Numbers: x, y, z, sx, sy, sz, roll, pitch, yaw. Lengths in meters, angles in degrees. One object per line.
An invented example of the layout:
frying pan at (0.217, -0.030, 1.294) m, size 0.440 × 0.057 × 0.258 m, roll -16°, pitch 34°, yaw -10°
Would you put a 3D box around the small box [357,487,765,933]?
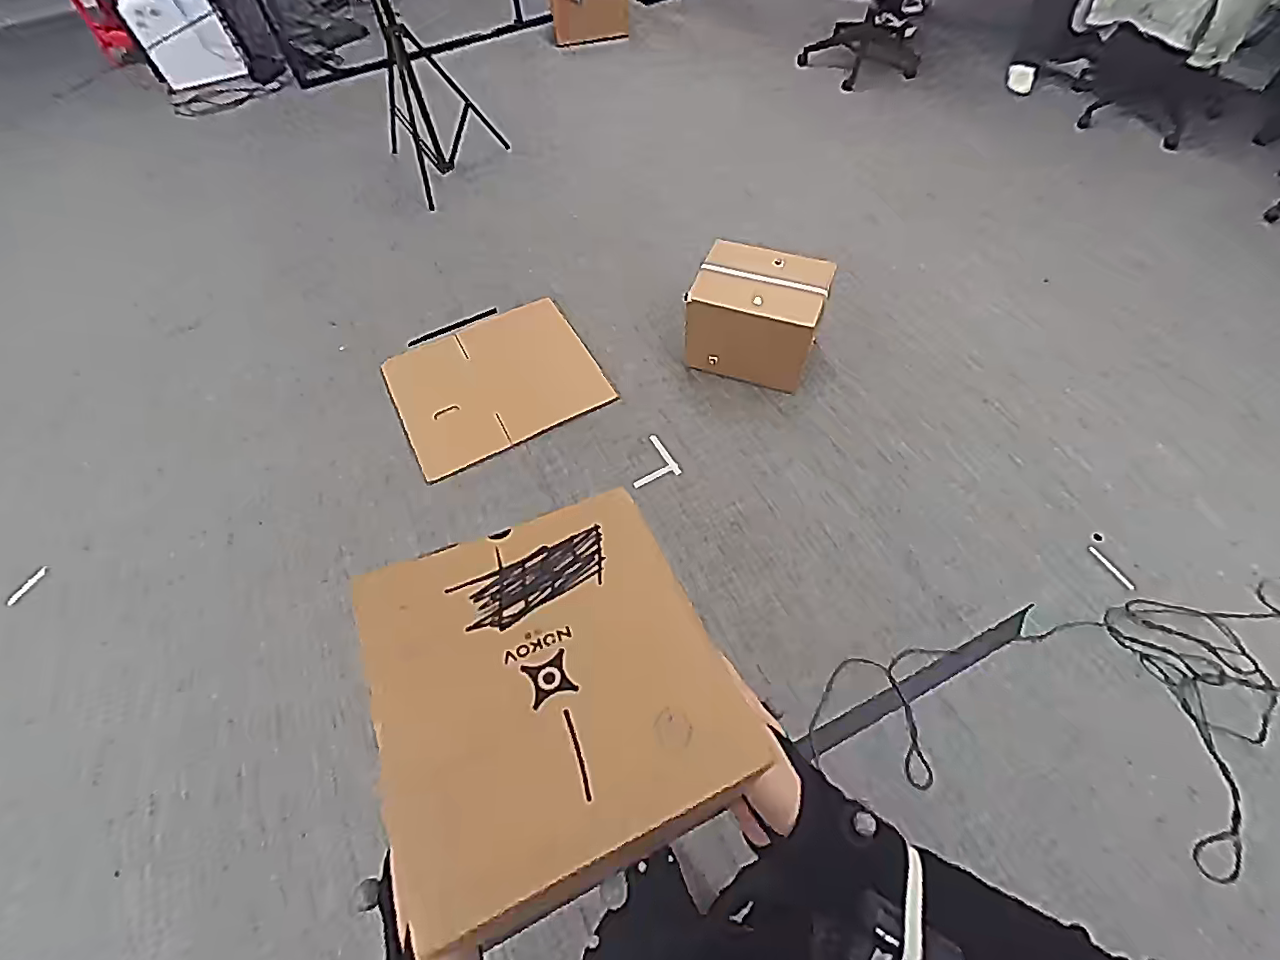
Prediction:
small box at (-0.052, 0.139, 0.337) m, size 0.168 × 0.176 × 0.179 m, roll -19°, pitch 55°, yaw -16°
